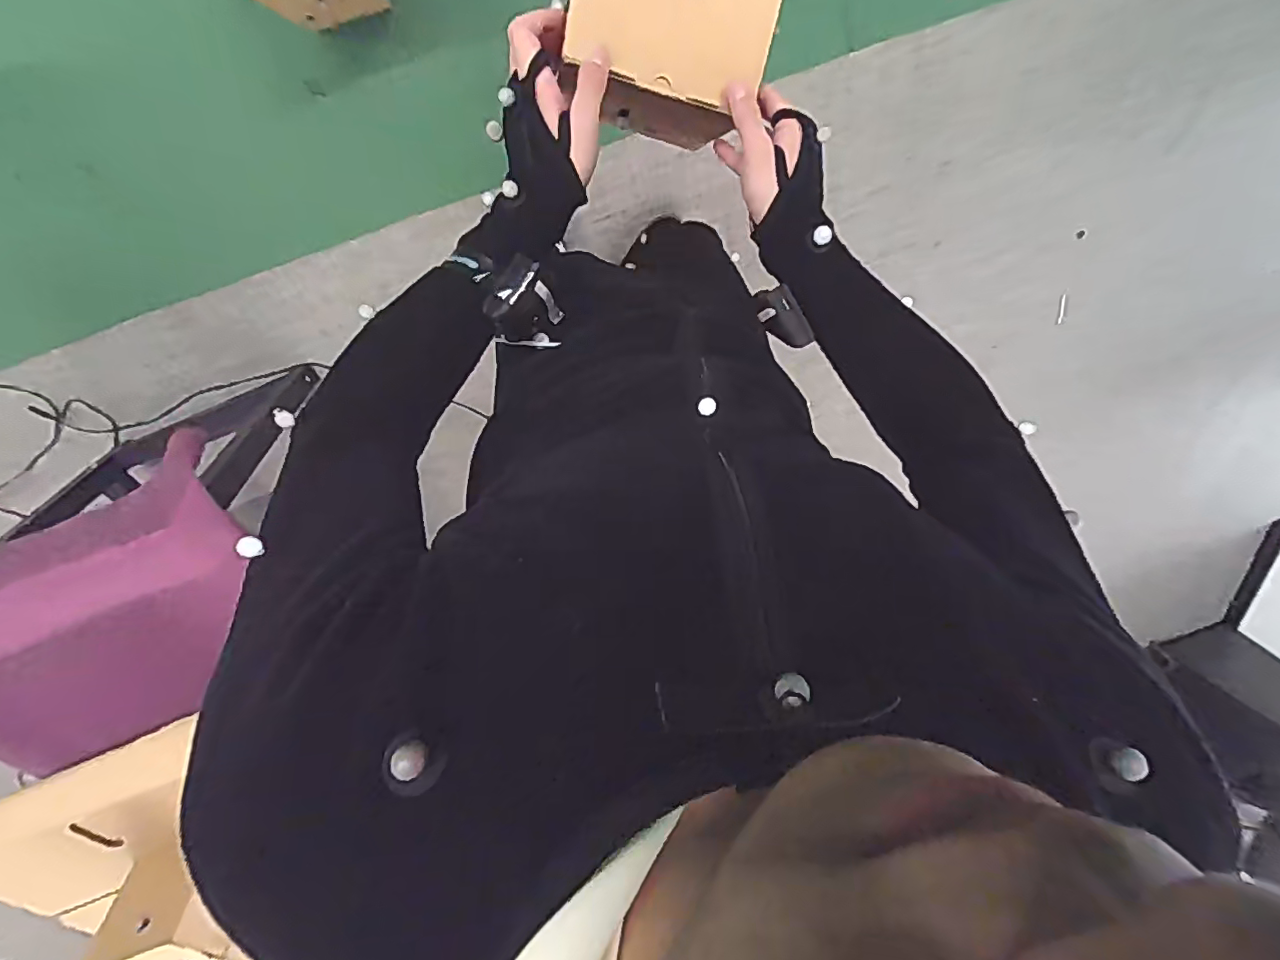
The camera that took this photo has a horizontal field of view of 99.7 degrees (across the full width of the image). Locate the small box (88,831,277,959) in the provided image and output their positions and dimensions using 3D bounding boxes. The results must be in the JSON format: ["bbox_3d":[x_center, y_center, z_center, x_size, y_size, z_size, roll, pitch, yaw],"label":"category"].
[{"bbox_3d":[-0.757,0.732,0.912,0.179,0.176,0.168,-23,122,3],"label":"small box"}]

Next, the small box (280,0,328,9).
[{"bbox_3d":[-0.536,-0.862,0.822,0.168,0.176,0.179,-17,124,-1],"label":"small box"}]

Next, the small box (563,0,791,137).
[{"bbox_3d":[0.028,-0.434,0.479,0.168,0.176,0.179,7,113,-15],"label":"small box"}]
